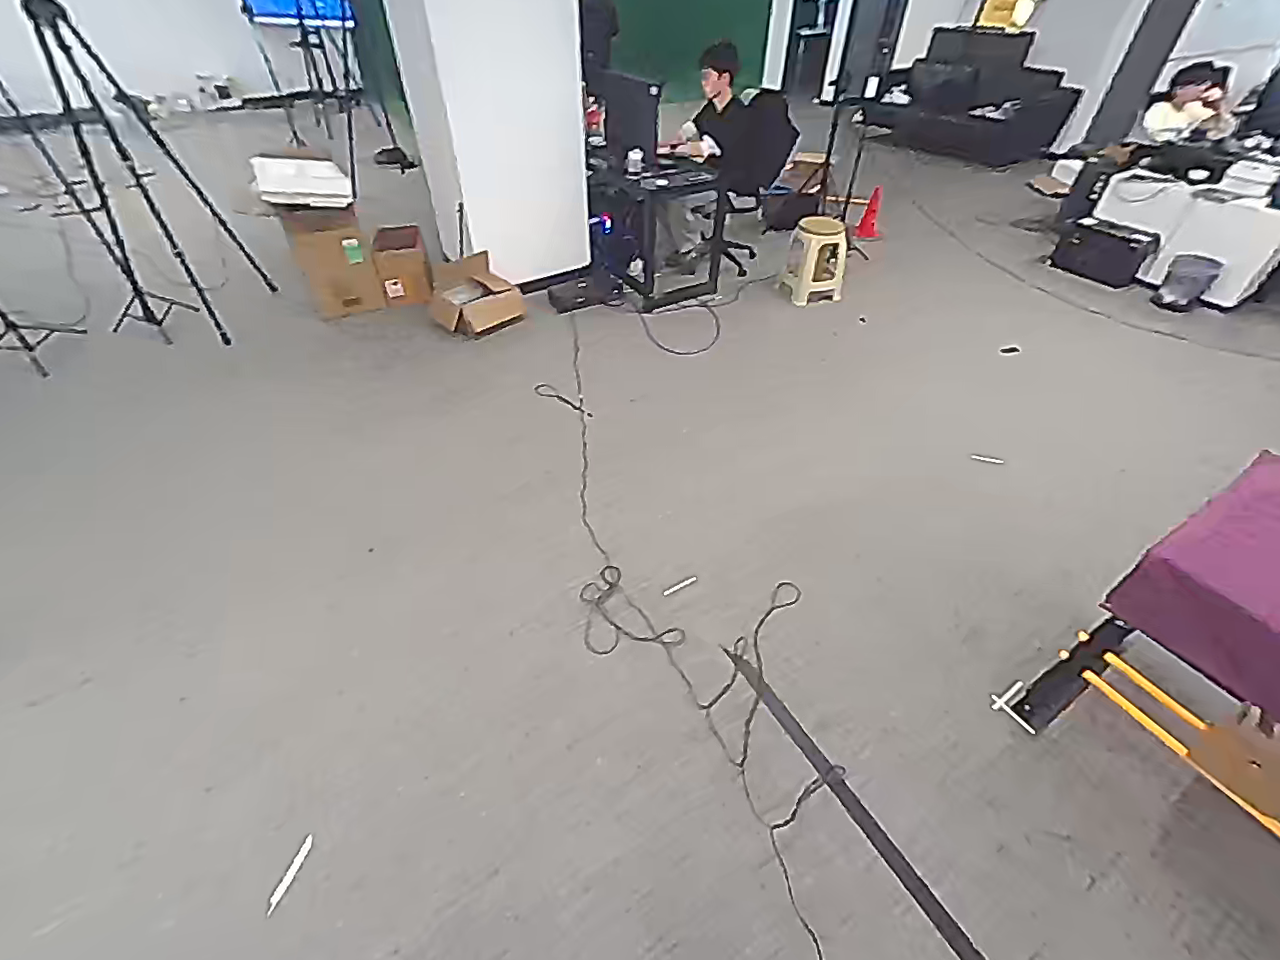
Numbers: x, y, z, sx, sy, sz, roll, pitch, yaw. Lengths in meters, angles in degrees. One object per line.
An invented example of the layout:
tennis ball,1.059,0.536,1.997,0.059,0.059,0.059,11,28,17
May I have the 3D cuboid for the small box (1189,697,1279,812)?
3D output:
small box,1.562,0.692,1.360,0.168,0.176,0.179,-25,51,-24
